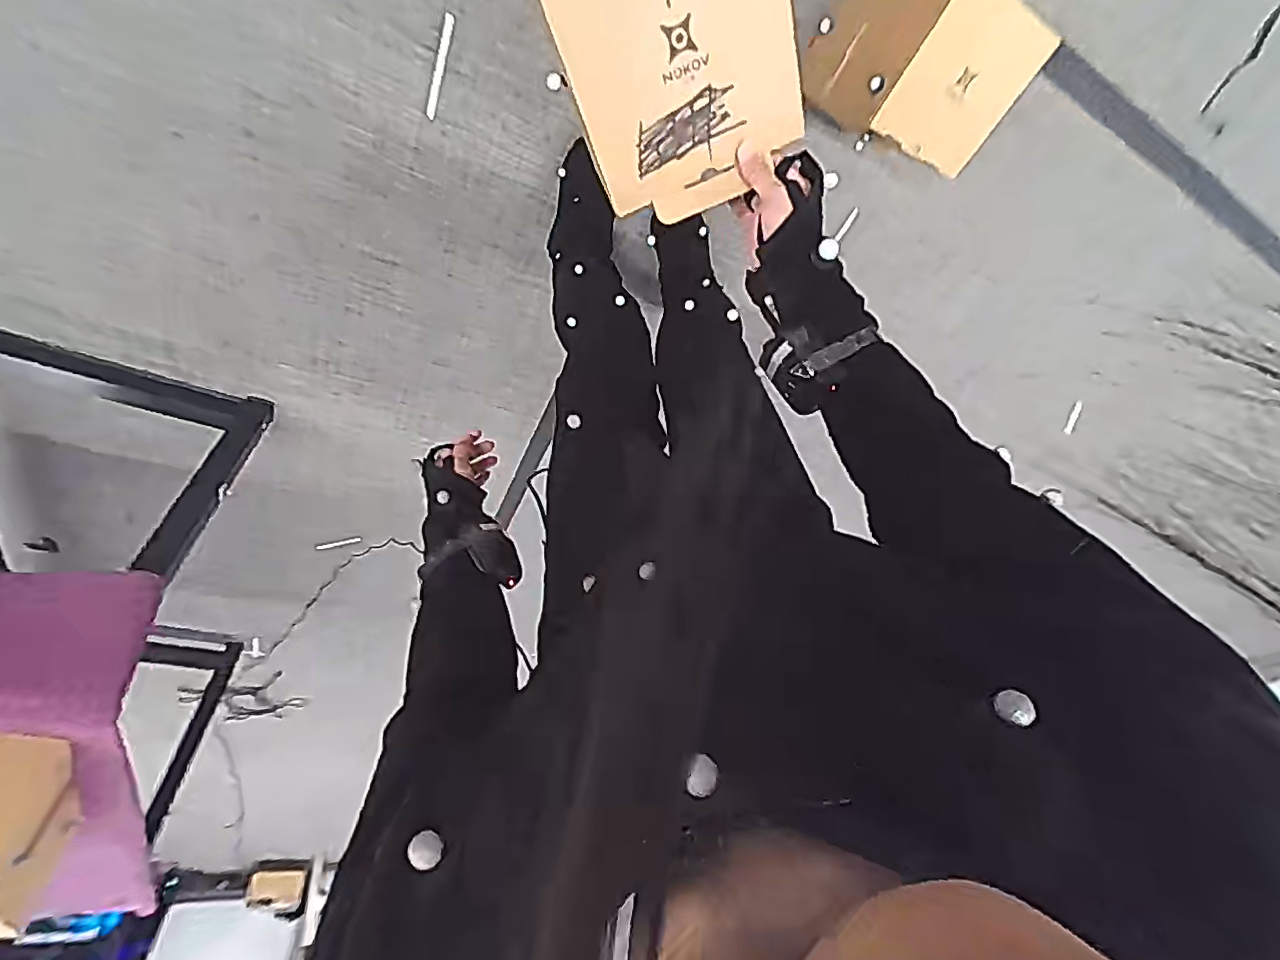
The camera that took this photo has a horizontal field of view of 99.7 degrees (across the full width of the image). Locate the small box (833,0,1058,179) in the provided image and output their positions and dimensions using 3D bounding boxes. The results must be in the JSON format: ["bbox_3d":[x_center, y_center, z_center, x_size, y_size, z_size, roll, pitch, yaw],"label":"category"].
[{"bbox_3d":[0.402,-0.562,0.745,0.168,0.176,0.179,15,130,-23],"label":"small box"}]

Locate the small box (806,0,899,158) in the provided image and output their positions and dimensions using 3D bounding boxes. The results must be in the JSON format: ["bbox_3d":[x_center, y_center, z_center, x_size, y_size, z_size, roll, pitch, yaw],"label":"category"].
[{"bbox_3d":[0.377,-0.665,0.869,0.179,0.176,0.168,19,128,-26],"label":"small box"}]

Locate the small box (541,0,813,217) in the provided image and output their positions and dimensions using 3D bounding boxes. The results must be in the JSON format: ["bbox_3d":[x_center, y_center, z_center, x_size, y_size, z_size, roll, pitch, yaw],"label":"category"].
[{"bbox_3d":[0.022,-0.352,0.436,0.168,0.176,0.179,-21,133,6],"label":"small box"}]

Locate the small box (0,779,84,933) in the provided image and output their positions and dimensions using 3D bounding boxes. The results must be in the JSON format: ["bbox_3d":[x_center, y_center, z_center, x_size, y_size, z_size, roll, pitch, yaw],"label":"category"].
[{"bbox_3d":[-1.015,0.577,0.831,0.168,0.176,0.179,17,128,-24],"label":"small box"}]
